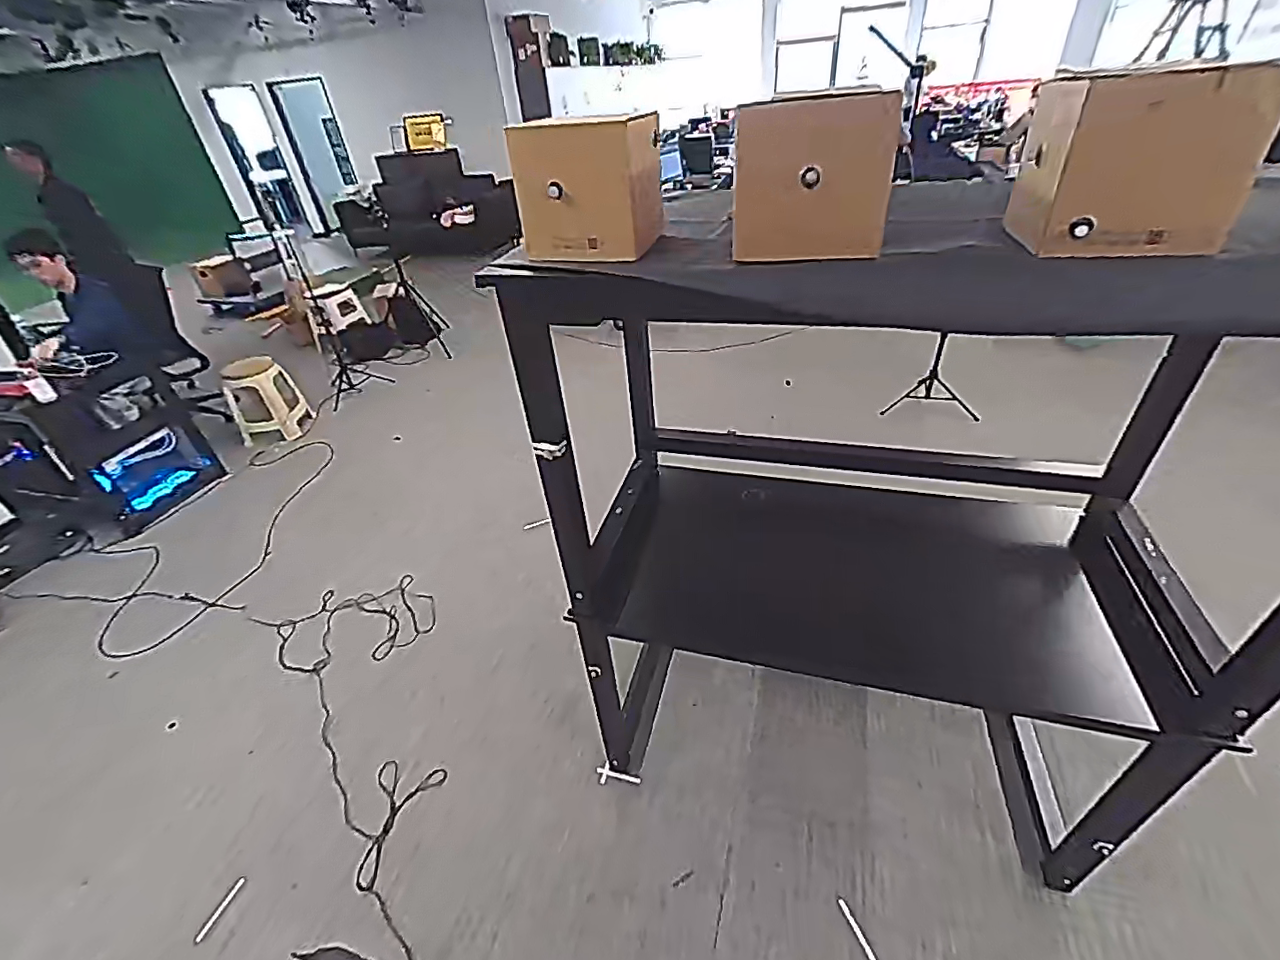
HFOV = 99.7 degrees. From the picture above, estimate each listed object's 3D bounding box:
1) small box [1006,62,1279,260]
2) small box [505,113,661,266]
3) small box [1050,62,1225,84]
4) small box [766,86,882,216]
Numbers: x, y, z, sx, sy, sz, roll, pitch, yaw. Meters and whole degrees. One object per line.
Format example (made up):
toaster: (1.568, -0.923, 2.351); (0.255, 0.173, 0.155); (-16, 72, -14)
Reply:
small box: (0.544, -0.351, 0.607); (0.168, 0.176, 0.179); (6, 35, 16)
small box: (-0.067, -0.413, 0.776); (0.168, 0.176, 0.179); (6, 37, 14)
small box: (0.706, -0.517, 0.818); (0.168, 0.176, 0.179); (11, 39, 19)
small box: (0.307, -0.556, 0.921); (0.168, 0.176, 0.179); (6, 38, 15)
